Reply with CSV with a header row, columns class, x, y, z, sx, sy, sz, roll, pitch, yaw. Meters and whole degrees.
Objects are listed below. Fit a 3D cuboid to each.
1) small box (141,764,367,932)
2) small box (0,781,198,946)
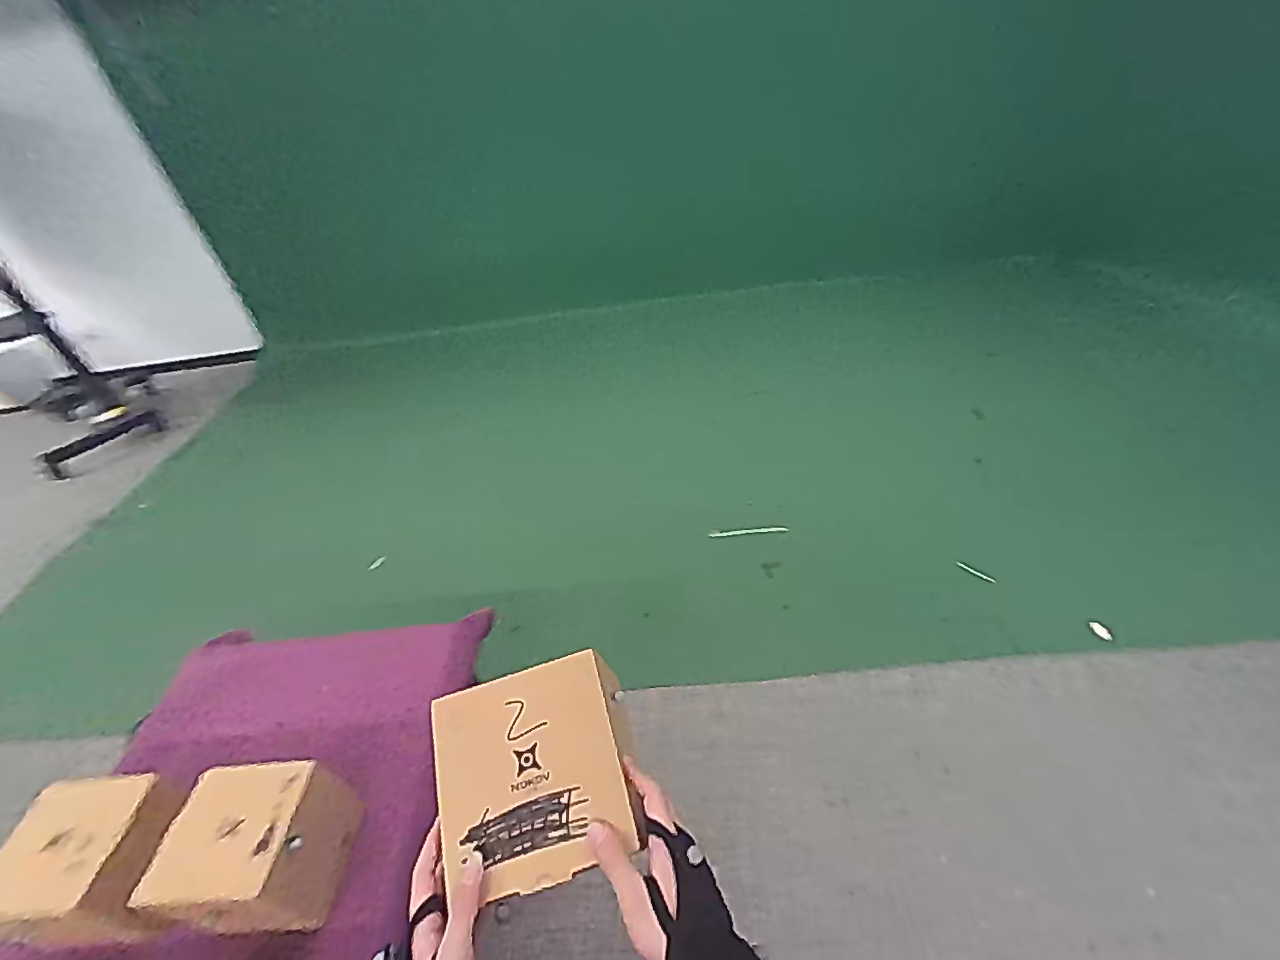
class,x,y,z,sx,sy,sz,roll,pitch,yaw
small box,-0.548,0.546,0.799,0.179,0.176,0.168,-8,40,5
small box,-0.794,0.579,0.815,0.179,0.176,0.168,-7,40,4
